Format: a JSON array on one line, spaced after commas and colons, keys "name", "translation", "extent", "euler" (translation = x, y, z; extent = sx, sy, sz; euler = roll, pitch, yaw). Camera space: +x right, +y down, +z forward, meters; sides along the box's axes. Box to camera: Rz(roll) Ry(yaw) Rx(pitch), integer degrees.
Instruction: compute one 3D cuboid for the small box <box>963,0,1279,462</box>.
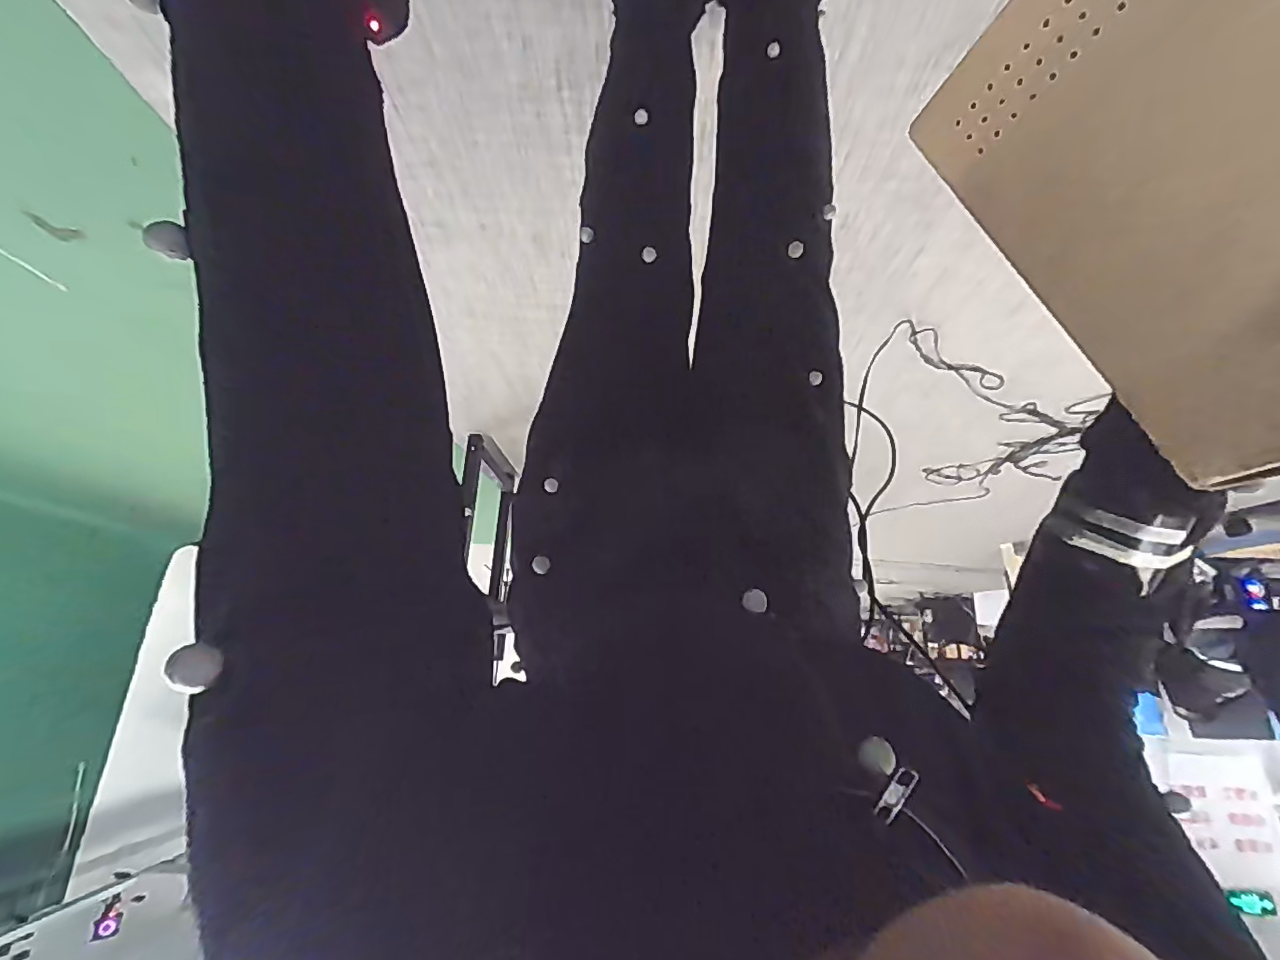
[{"name": "small box", "translation": [0.233, -0.135, 0.150], "extent": [0.168, 0.176, 0.179], "euler": [-30, 172, -25]}]
